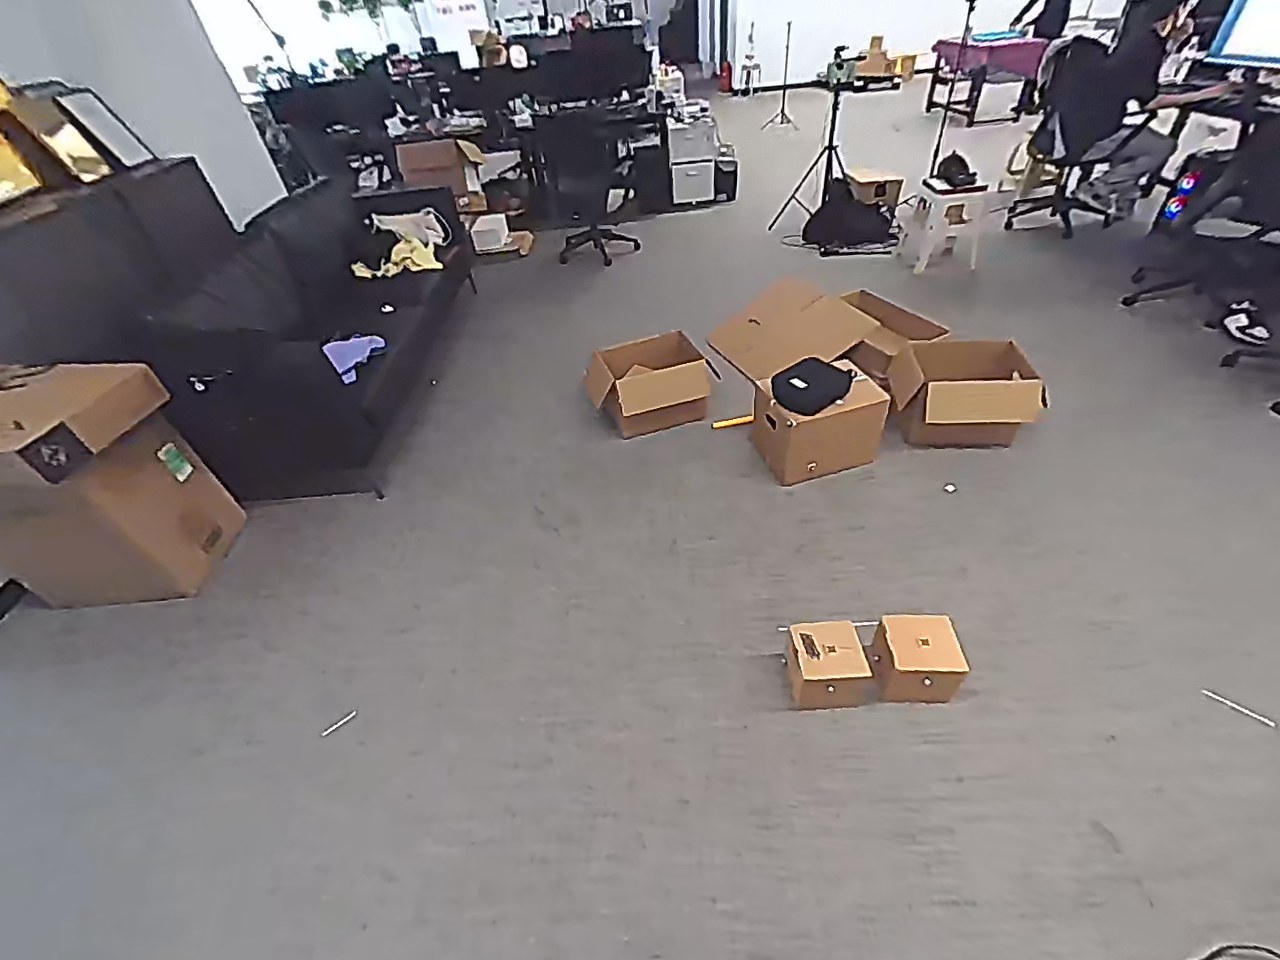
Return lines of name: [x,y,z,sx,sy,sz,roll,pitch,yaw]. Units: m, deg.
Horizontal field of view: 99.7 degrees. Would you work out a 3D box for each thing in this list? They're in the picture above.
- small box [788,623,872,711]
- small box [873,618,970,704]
small box: [0.506,0.512,1.472,0.179,0.176,0.168,-5,42,3]
small box: [0.750,0.490,1.461,0.179,0.176,0.168,-2,42,8]
